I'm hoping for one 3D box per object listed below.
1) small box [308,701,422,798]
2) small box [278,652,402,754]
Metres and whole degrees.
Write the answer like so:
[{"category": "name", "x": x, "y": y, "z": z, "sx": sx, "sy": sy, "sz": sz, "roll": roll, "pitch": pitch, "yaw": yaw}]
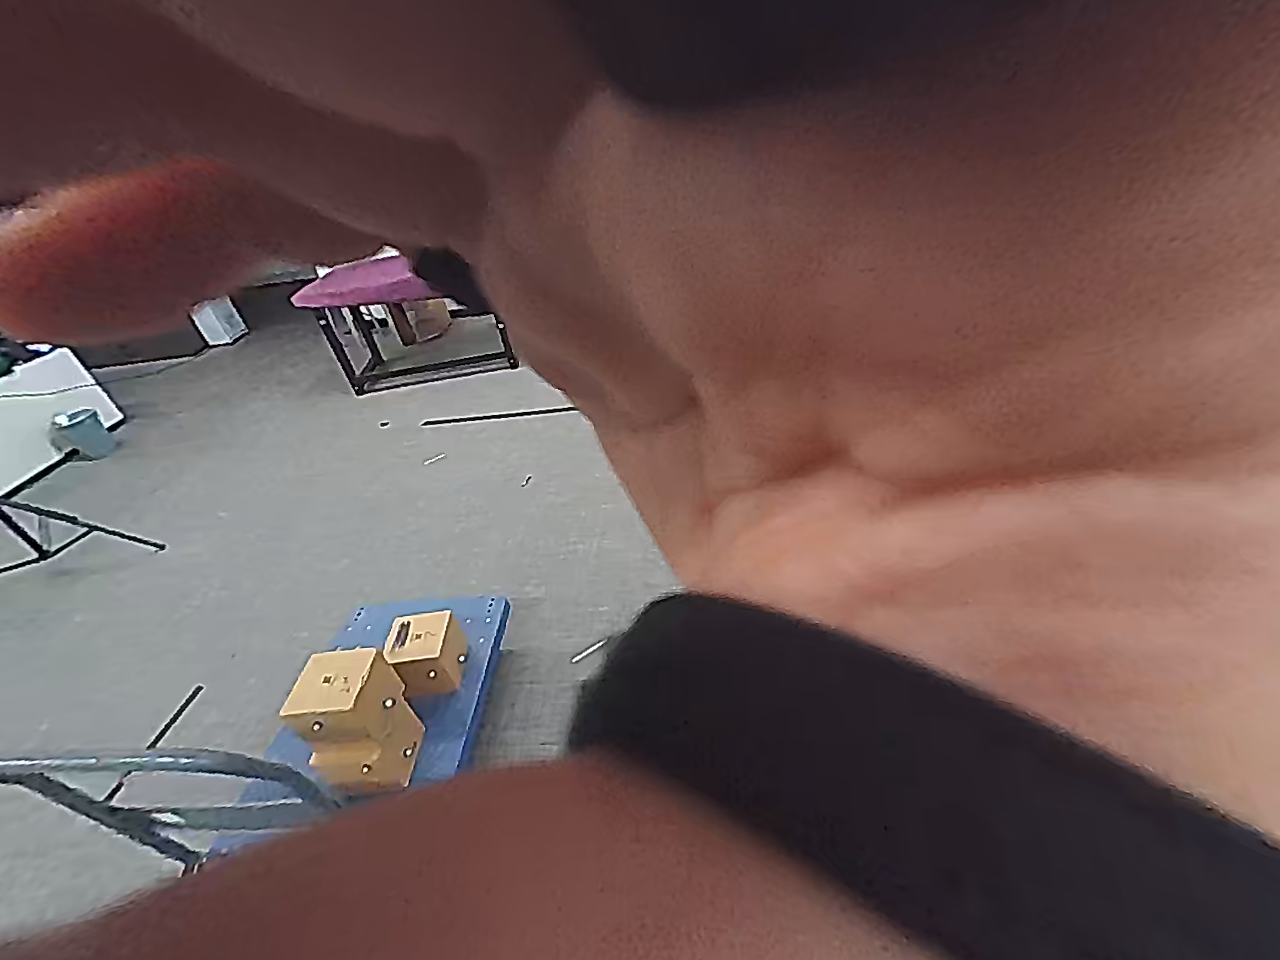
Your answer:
[{"category": "small box", "x": -0.691, "y": 0.689, "z": 1.382, "sx": 0.179, "sy": 0.176, "sz": 0.168, "roll": -7, "pitch": 36, "yaw": 4}, {"category": "small box", "x": -0.713, "y": 0.542, "z": 1.308, "sx": 0.179, "sy": 0.176, "sz": 0.168, "roll": -6, "pitch": 36, "yaw": 4}]
